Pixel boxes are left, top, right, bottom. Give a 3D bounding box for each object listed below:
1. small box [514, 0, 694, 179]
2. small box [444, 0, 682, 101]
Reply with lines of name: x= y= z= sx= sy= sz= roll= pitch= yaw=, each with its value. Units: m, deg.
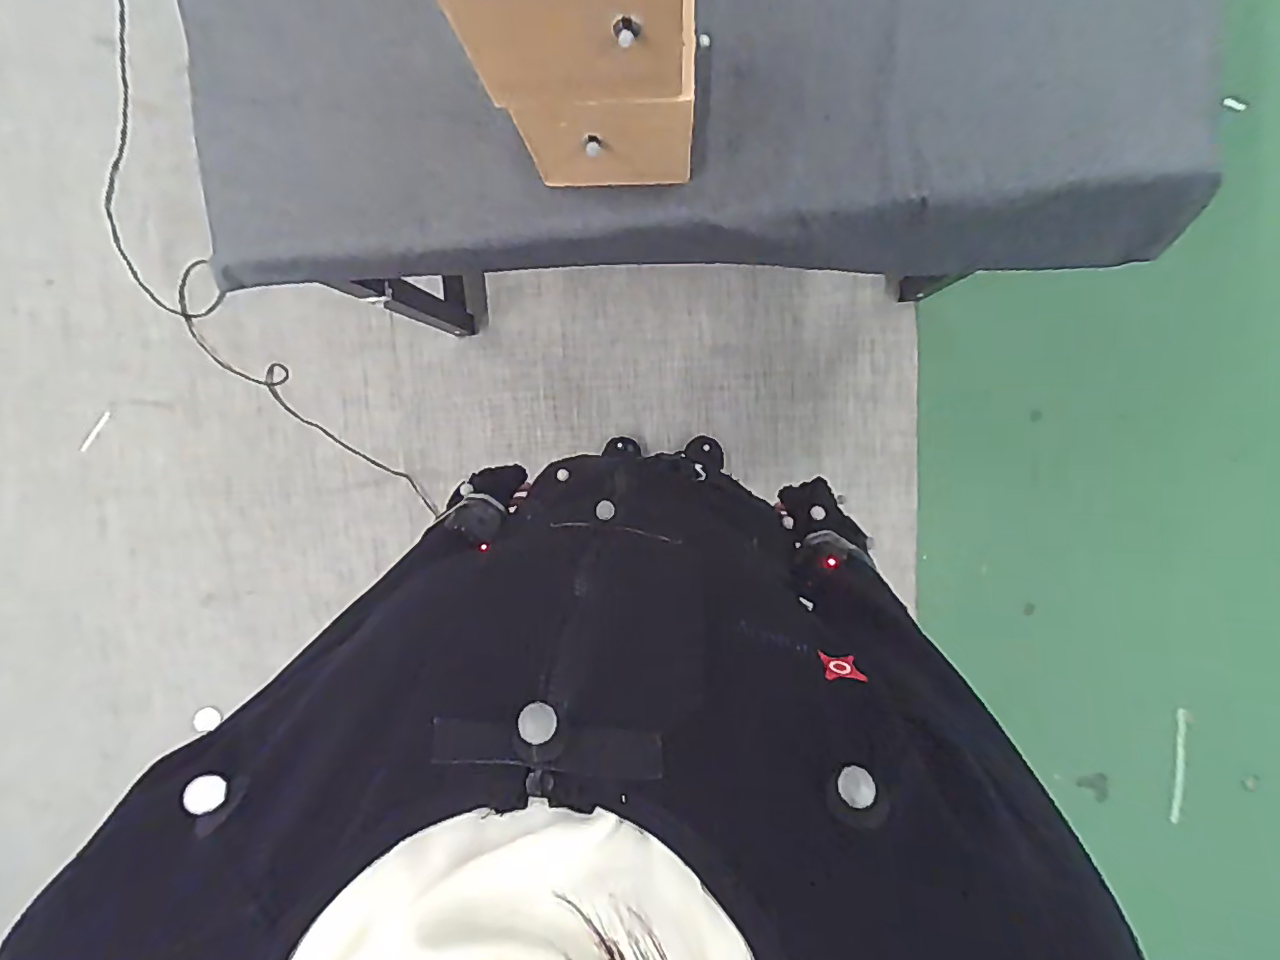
small box: x=-0.032 y=-0.442 z=0.574 sx=0.179 sy=0.176 sz=0.168 roll=1 pitch=95 yaw=4
small box: x=-0.054 y=-0.428 z=0.414 sx=0.179 sy=0.176 sz=0.168 roll=-1 pitch=94 yaw=4
